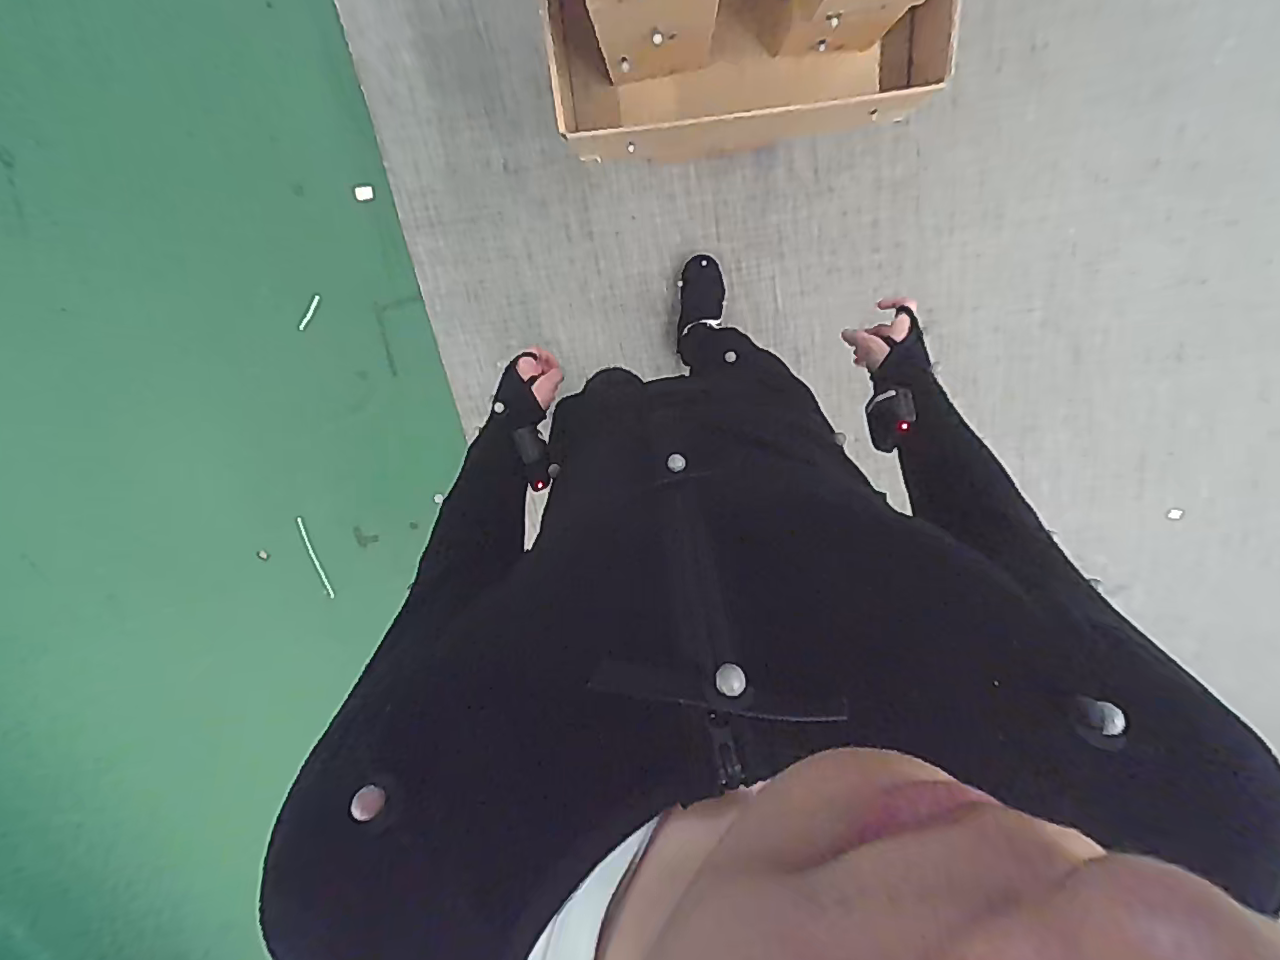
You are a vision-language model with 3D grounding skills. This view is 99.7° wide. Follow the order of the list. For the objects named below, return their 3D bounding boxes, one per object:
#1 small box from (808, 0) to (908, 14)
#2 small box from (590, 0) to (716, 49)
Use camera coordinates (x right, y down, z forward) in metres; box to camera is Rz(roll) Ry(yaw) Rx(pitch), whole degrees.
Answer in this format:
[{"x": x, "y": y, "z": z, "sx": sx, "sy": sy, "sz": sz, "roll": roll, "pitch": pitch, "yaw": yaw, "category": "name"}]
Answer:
[{"x": 0.303, "y": -0.716, "z": 0.665, "sx": 0.168, "sy": 0.176, "sz": 0.179, "roll": -7, "pitch": 111, "yaw": 5, "category": "small box"}, {"x": 0.008, "y": -0.694, "z": 0.686, "sx": 0.168, "sy": 0.176, "sz": 0.179, "roll": -7, "pitch": 111, "yaw": 6, "category": "small box"}]
